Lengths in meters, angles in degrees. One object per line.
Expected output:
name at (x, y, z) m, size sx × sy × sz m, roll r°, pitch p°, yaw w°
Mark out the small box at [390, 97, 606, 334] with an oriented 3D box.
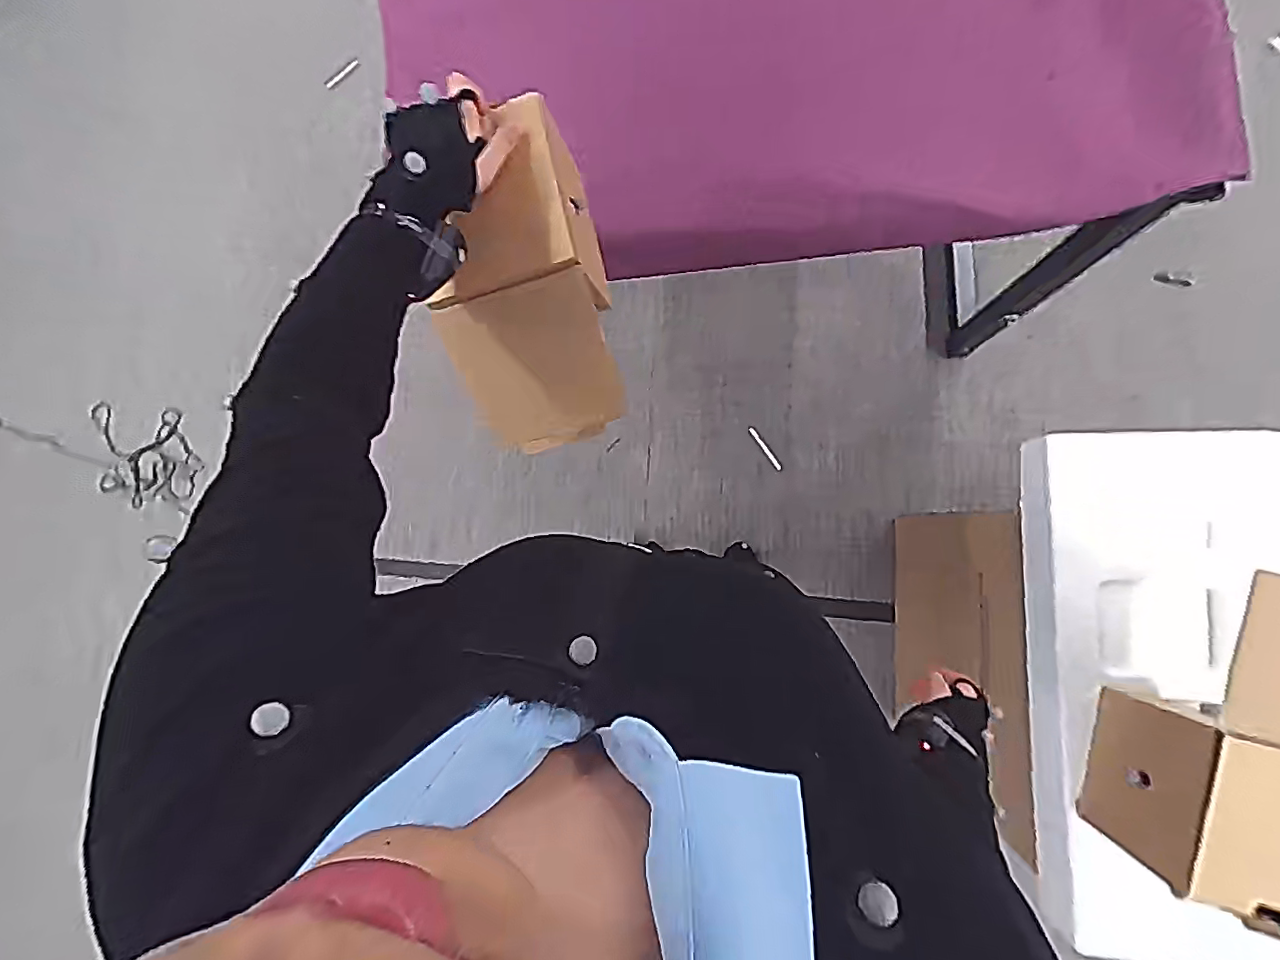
small box at (-0.145, -0.276, 0.616) m, size 0.168 × 0.176 × 0.179 m, roll -13°, pitch 91°, yaw 8°
